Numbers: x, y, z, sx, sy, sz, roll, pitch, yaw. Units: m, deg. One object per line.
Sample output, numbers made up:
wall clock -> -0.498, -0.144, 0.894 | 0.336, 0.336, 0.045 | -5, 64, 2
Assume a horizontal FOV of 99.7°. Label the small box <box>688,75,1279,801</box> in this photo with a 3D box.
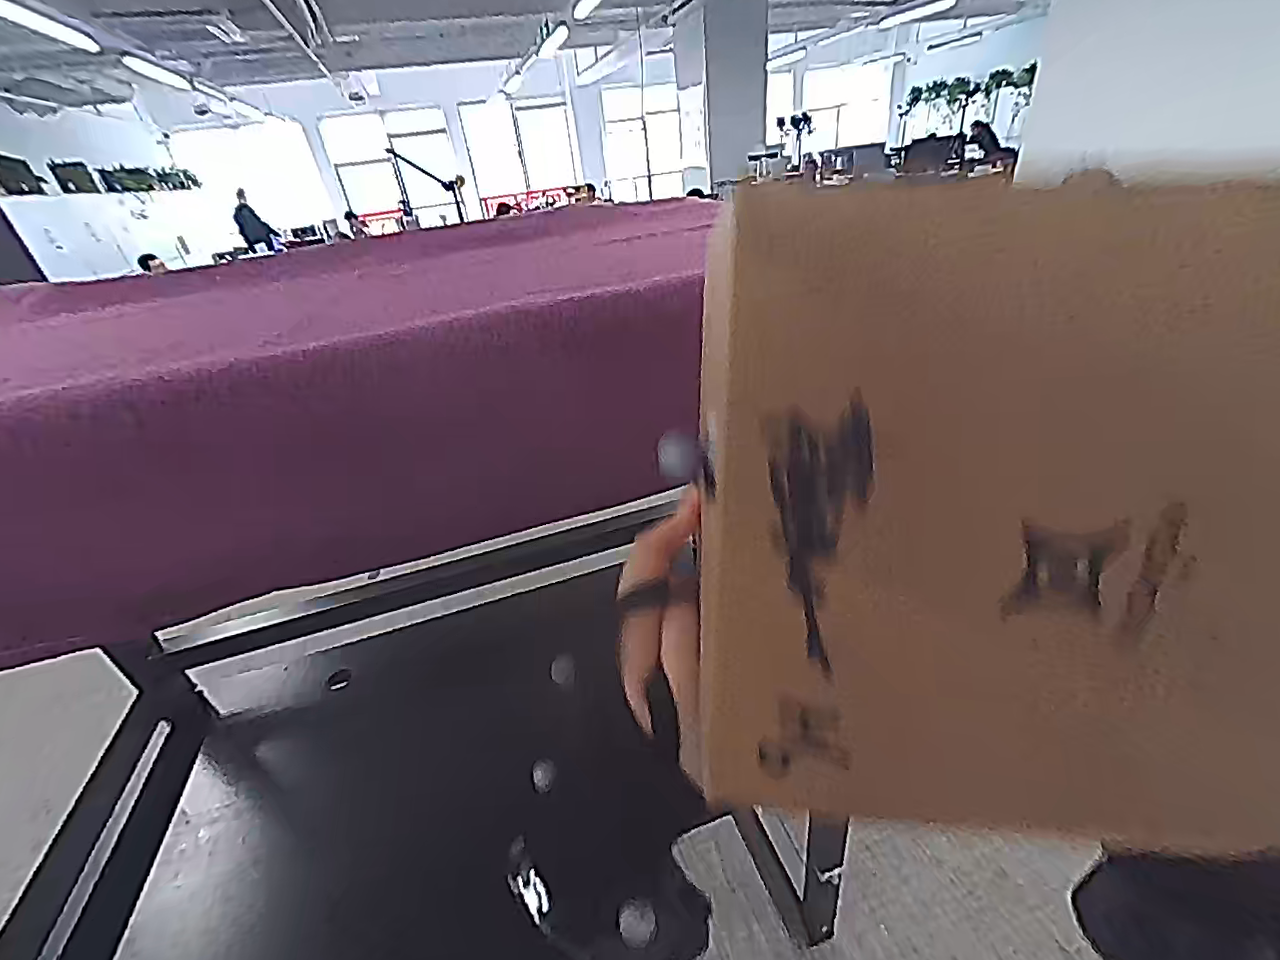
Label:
small box -> 0.109, -0.021, 0.197 | 0.179, 0.168, 0.176 | 2, 19, 4
